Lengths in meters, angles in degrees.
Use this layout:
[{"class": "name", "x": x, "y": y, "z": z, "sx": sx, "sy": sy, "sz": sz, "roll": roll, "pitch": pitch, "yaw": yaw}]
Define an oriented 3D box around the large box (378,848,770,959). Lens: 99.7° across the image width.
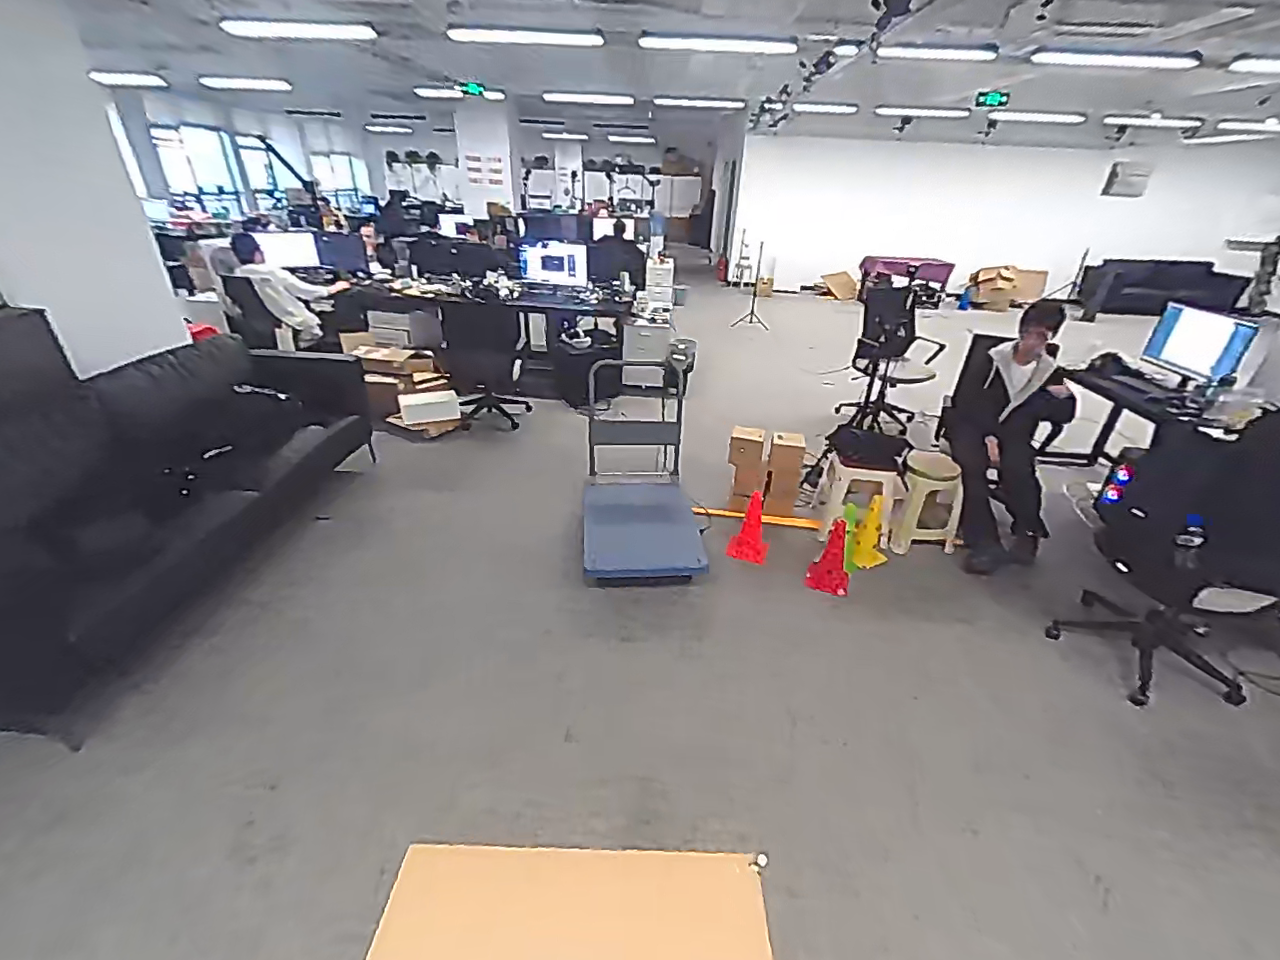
[{"class": "large box", "x": -0.073, "y": 0.640, "z": 0.570, "sx": 0.408, "sy": 0.320, "sz": 0.320, "roll": 2, "pitch": 28, "yaw": -1}]
